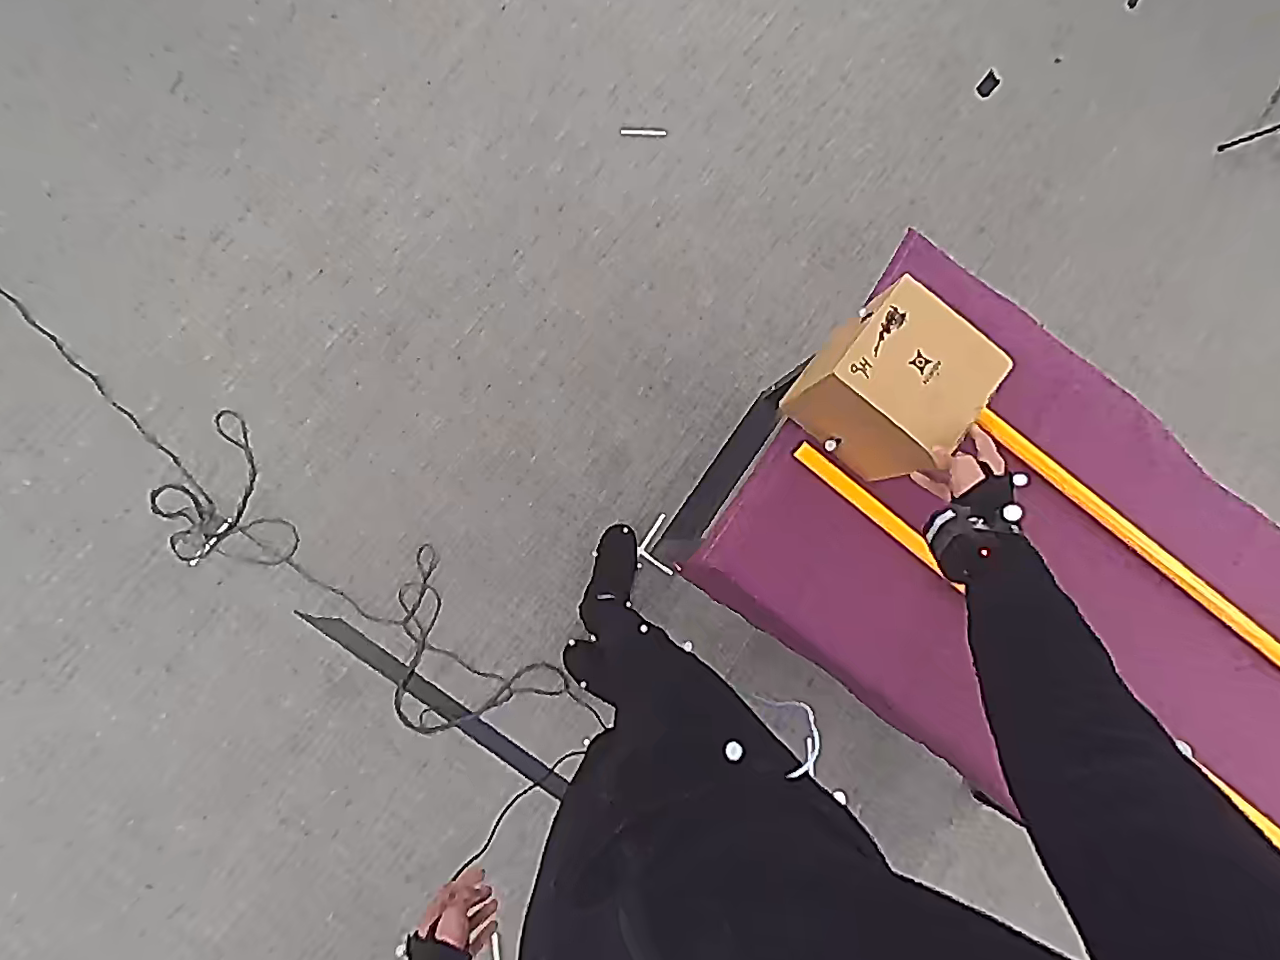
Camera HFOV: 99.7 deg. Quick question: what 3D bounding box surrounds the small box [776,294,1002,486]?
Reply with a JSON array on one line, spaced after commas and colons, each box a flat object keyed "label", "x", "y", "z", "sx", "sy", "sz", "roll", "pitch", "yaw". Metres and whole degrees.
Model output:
[{"label": "small box", "x": 0.320, "y": -0.106, "z": 0.726, "sx": 0.179, "sy": 0.176, "sz": 0.168, "roll": 40, "pitch": 80, "yaw": -2}]
